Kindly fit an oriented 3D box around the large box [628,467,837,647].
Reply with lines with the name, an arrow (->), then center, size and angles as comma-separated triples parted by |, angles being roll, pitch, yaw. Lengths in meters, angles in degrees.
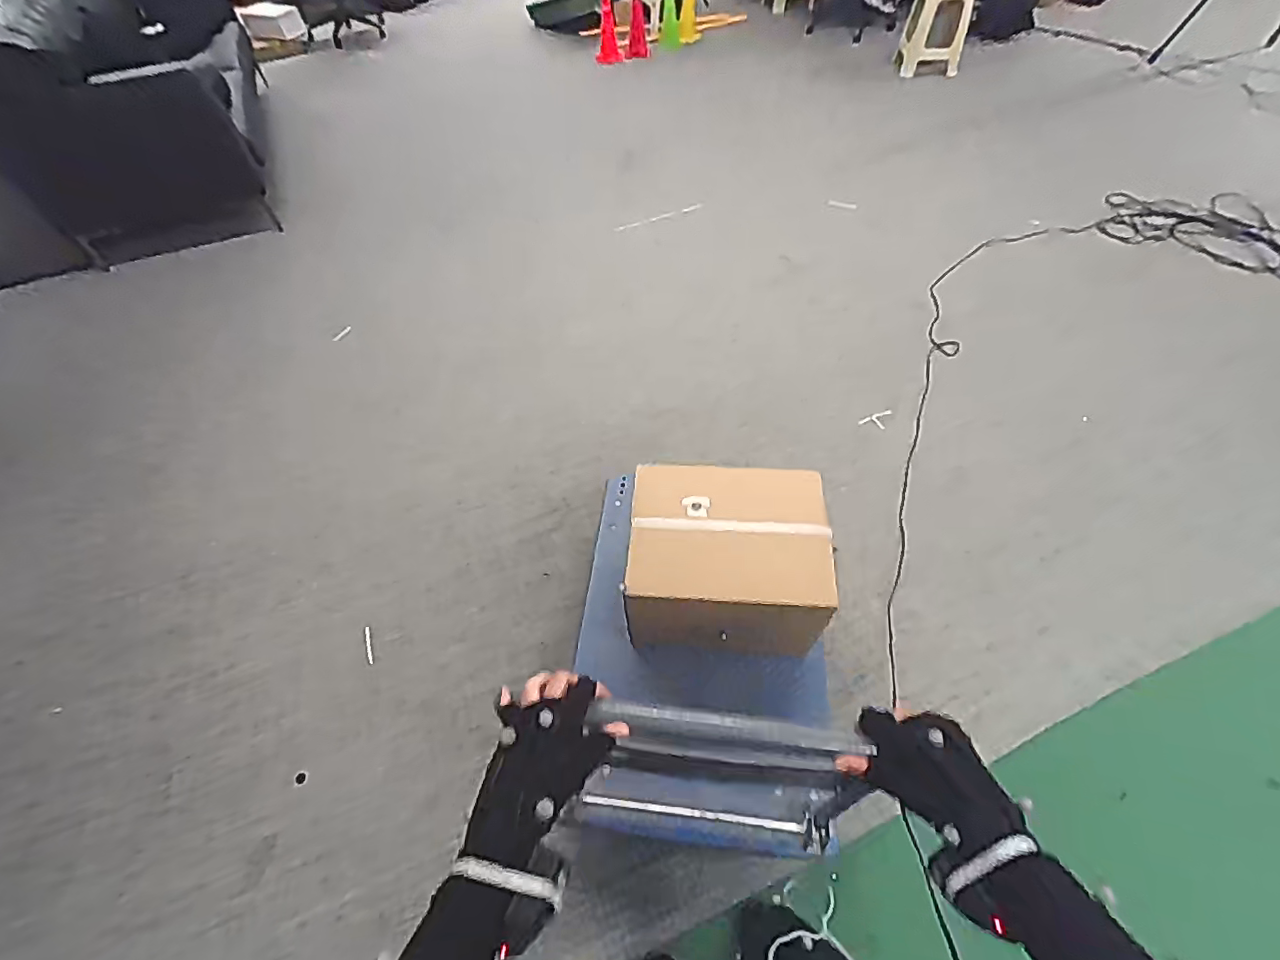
large box -> 0.192, 0.182, 1.235 | 0.408, 0.320, 0.320 | 1, 54, 5
